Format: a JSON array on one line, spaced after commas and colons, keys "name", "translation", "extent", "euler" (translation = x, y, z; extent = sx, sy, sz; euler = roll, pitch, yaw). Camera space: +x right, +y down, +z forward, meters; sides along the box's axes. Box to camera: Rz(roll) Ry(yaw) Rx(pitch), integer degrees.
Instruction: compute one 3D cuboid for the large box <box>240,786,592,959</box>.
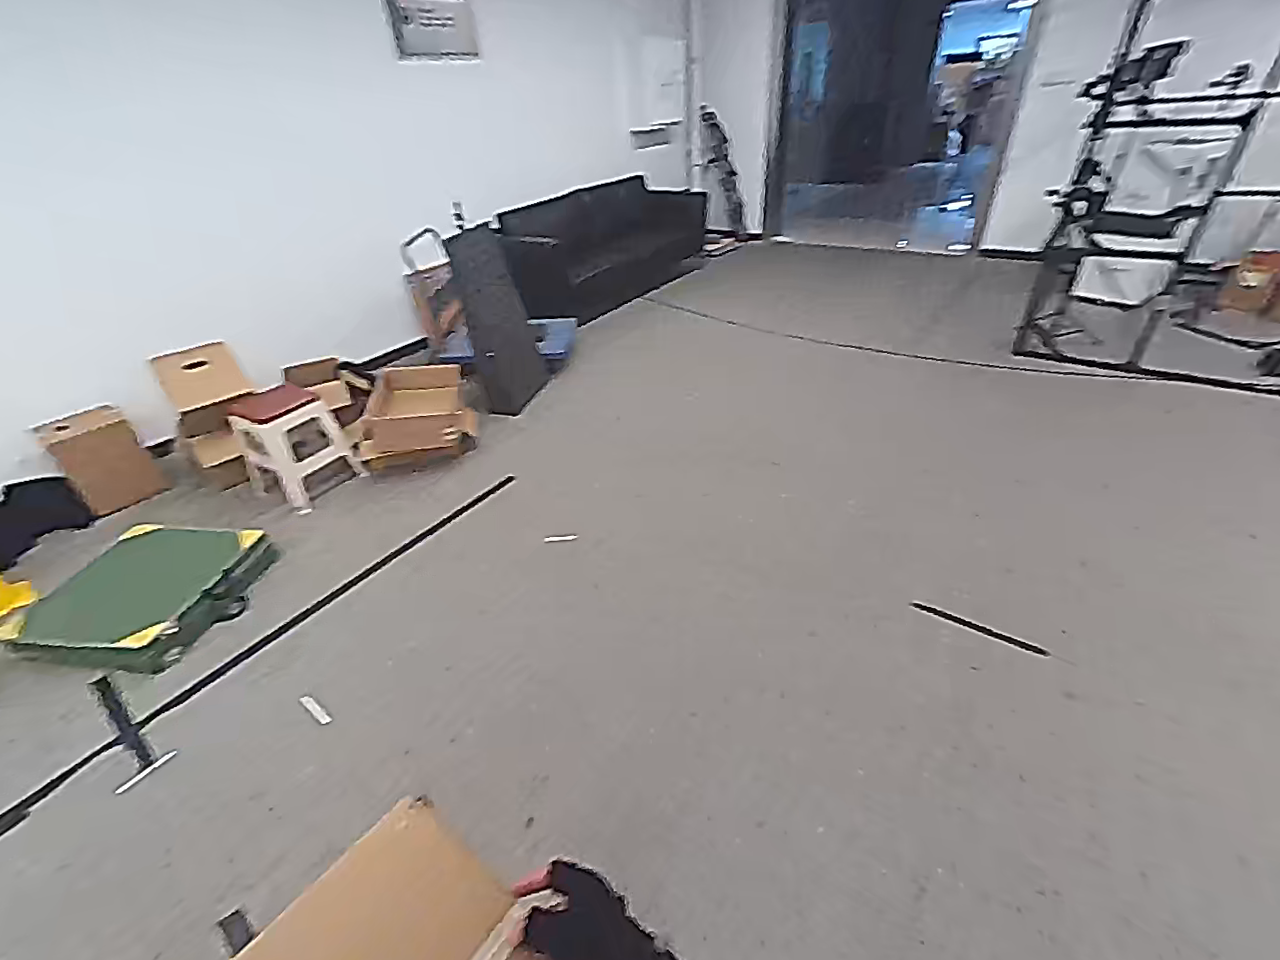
[{"name": "large box", "translation": [-0.236, 0.585, 0.454], "extent": [0.320, 0.320, 0.408], "euler": [31, 43, 24]}]
